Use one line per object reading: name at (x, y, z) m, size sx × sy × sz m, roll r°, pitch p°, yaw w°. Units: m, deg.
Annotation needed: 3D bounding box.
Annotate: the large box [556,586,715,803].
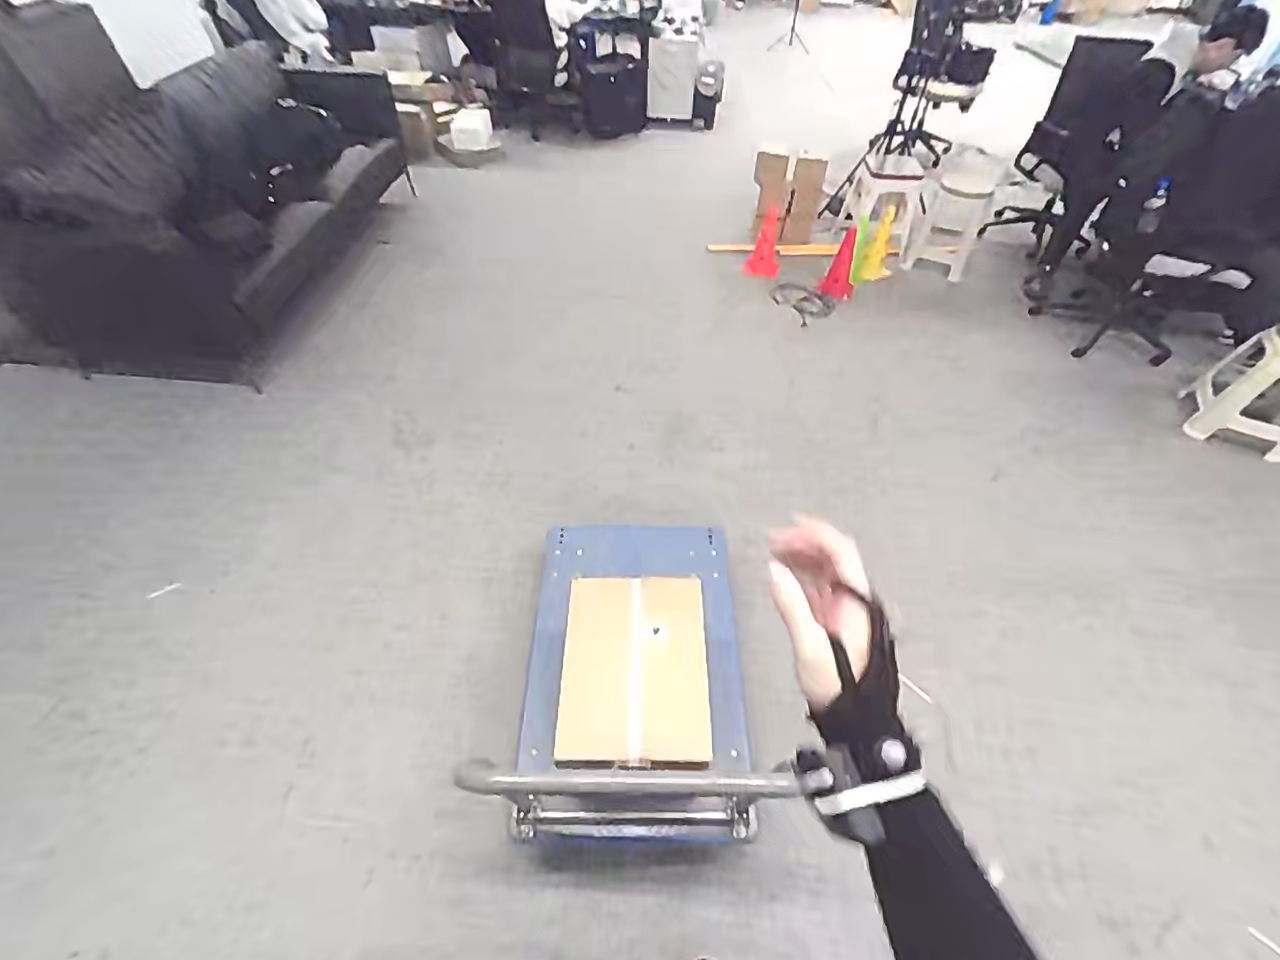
large box at (-0.009, 0.505, 1.278) m, size 0.320 × 0.320 × 0.408 m, roll 0°, pitch 48°, yaw 0°
